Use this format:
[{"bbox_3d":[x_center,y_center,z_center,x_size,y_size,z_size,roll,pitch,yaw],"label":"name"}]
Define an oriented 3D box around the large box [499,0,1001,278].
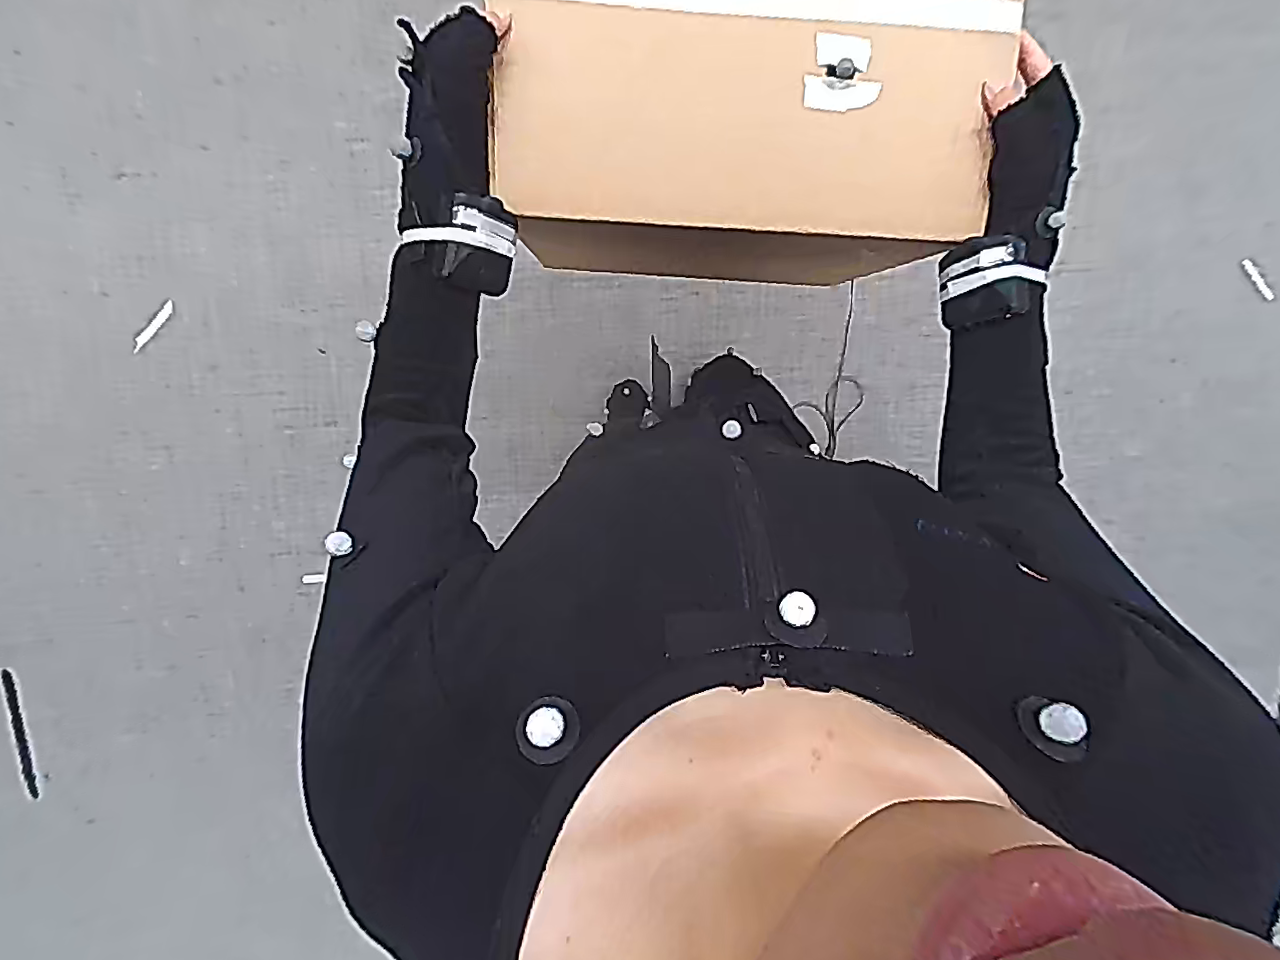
[{"bbox_3d":[0.079,-0.400,0.568,0.408,0.320,0.320,2,104,-3],"label":"large box"}]
